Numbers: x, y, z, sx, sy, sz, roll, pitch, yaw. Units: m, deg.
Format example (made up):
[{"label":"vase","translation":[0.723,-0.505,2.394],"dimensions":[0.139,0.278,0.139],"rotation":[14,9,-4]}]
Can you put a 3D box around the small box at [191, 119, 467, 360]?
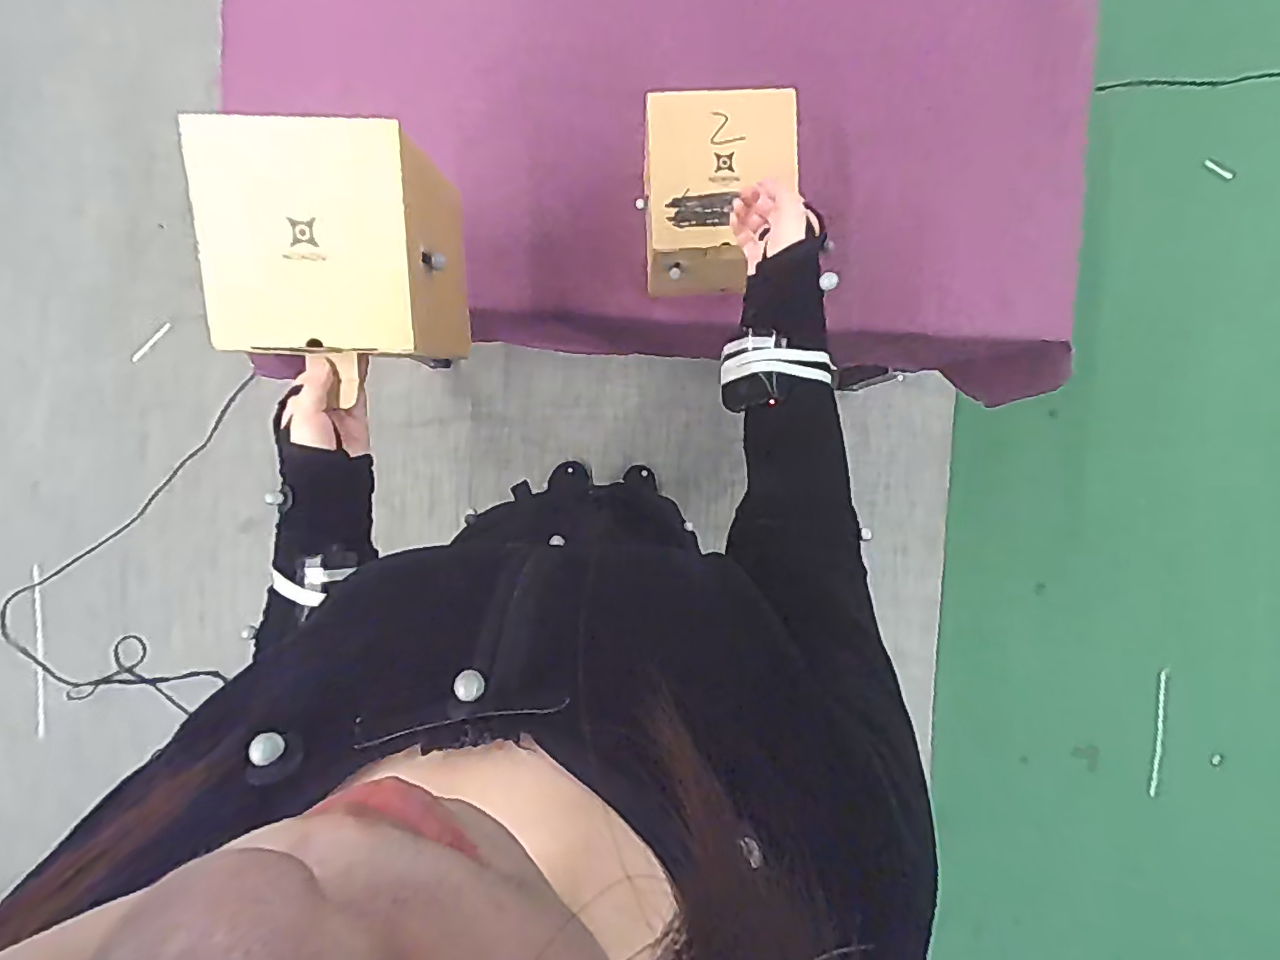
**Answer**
[{"label":"small box","translation":[-0.271,-0.208,0.515],"dimensions":[0.168,0.176,0.179],"rotation":[1,102,-2]}]
